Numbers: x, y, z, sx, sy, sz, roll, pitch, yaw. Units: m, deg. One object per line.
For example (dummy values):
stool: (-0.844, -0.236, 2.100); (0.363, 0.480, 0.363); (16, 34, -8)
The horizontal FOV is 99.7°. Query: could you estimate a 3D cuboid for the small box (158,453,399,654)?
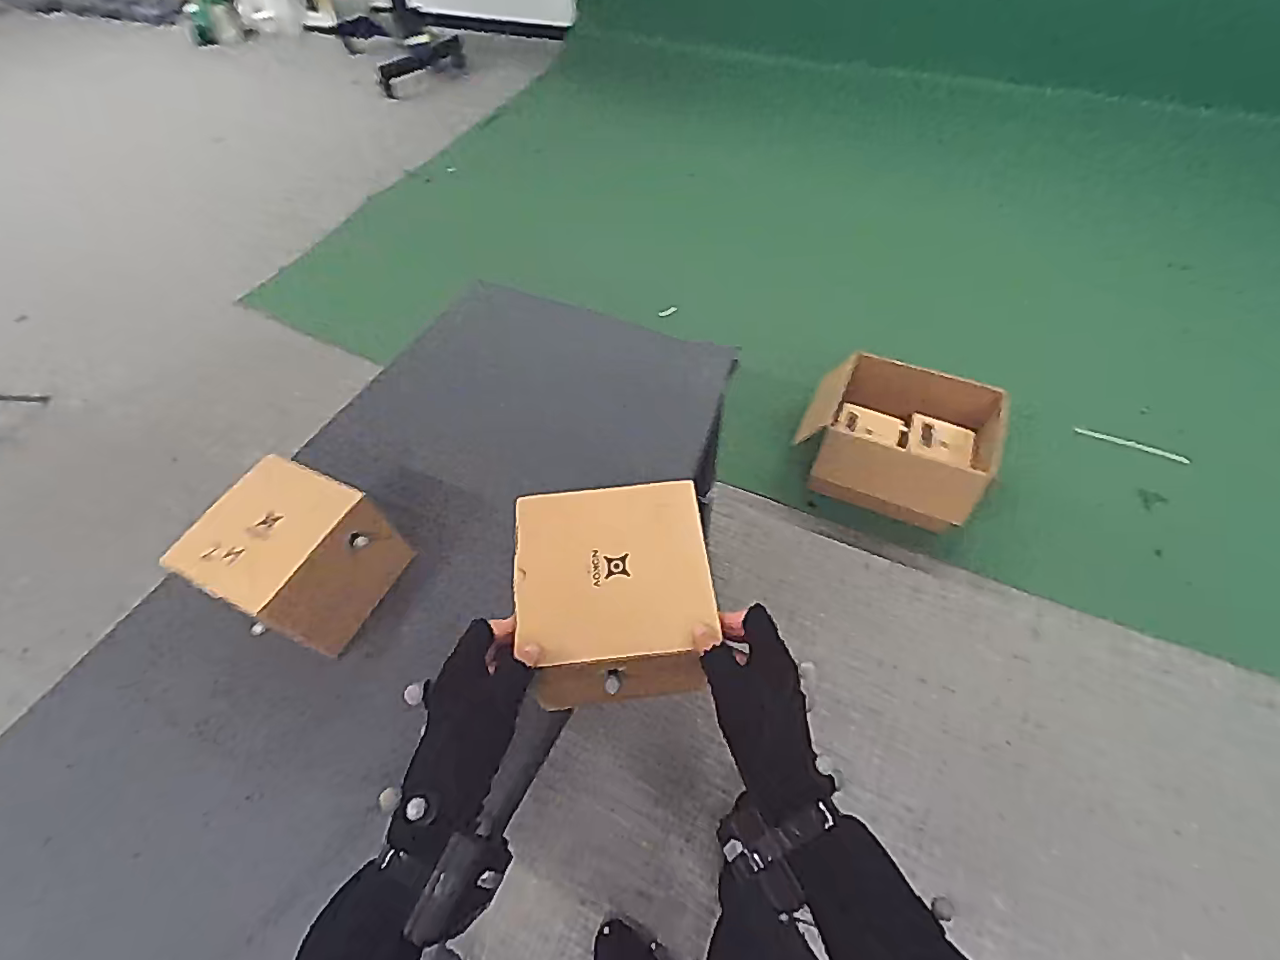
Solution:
small box: (-0.452, 0.100, 0.716); (0.168, 0.176, 0.179); (20, 60, 16)
